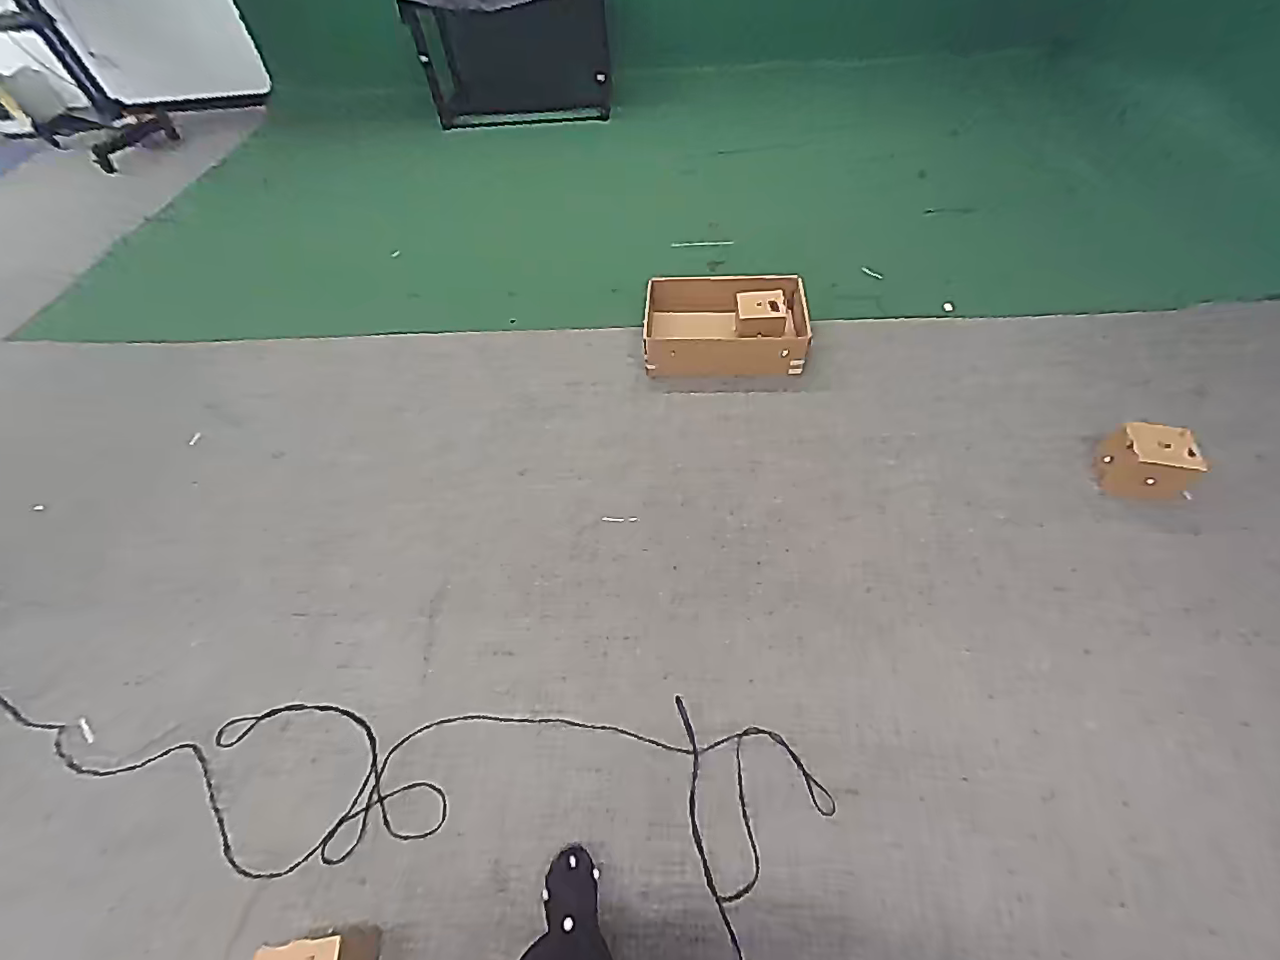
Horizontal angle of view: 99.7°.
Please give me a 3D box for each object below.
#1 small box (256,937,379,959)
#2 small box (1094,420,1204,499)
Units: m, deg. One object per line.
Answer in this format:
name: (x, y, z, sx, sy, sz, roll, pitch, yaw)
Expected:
small box: (-0.622, 0.997, 1.027, 0.168, 0.176, 0.179, -8, 52, -1)
small box: (1.532, -0.059, 1.648, 0.179, 0.176, 0.168, 9, 54, 12)
